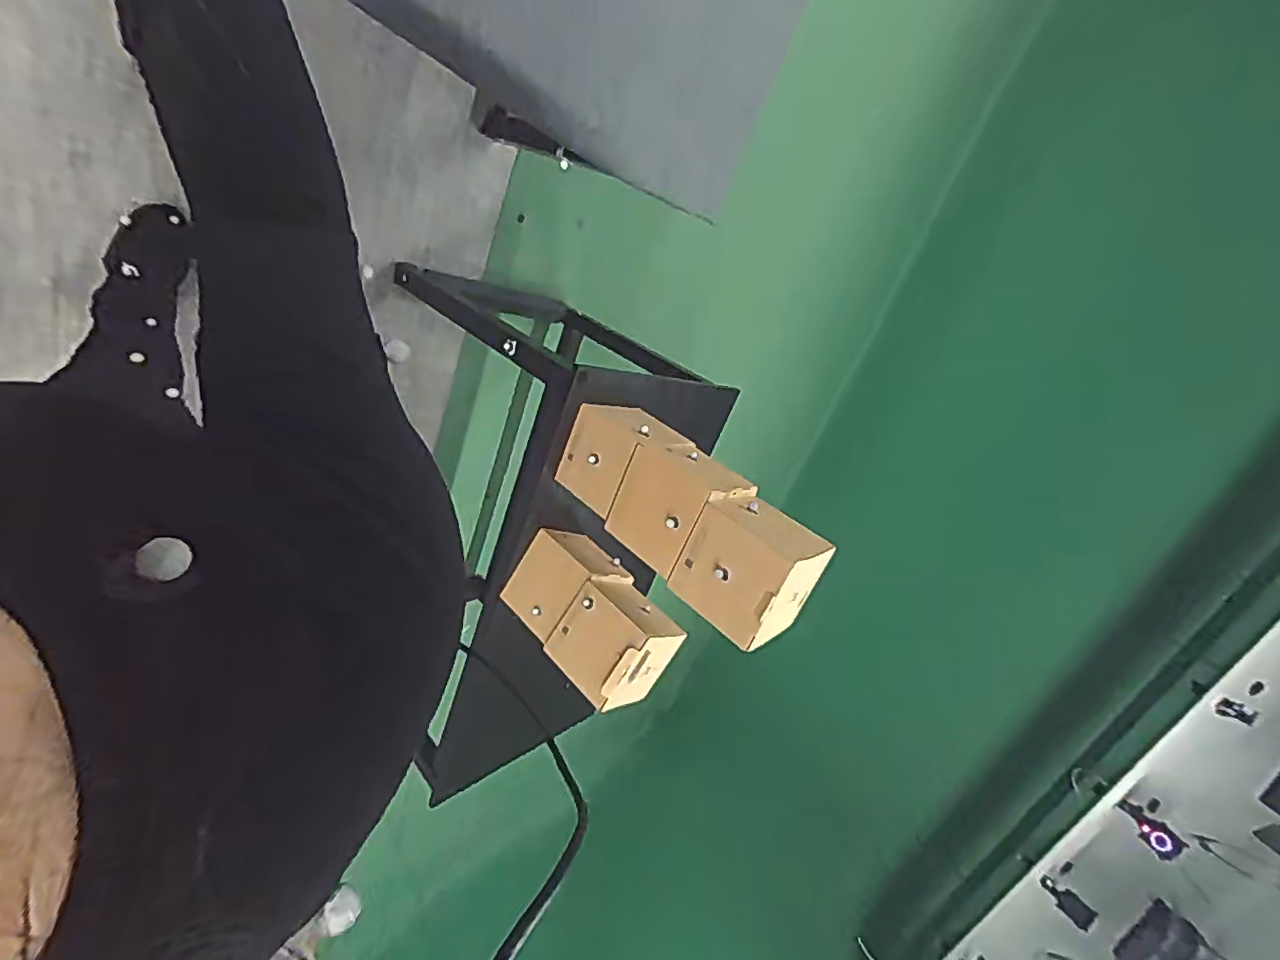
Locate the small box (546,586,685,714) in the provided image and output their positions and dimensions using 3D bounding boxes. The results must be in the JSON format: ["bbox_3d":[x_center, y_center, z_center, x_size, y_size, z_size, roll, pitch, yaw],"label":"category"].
[{"bbox_3d":[-0.050,0.323,1.056,0.168,0.176,0.179,-56,149,5],"label":"small box"}]

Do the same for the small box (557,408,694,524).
[{"bbox_3d":[-0.032,-0.030,1.056,0.179,0.176,0.168,-4,124,-52],"label":"small box"}]

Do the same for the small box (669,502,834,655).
[{"bbox_3d":[0.177,0.147,0.878,0.179,0.176,0.168,-1,120,-51],"label":"small box"}]

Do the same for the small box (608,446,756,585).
[{"bbox_3d":[0.067,0.057,0.961,0.168,0.176,0.179,-4,123,-51],"label":"small box"}]
